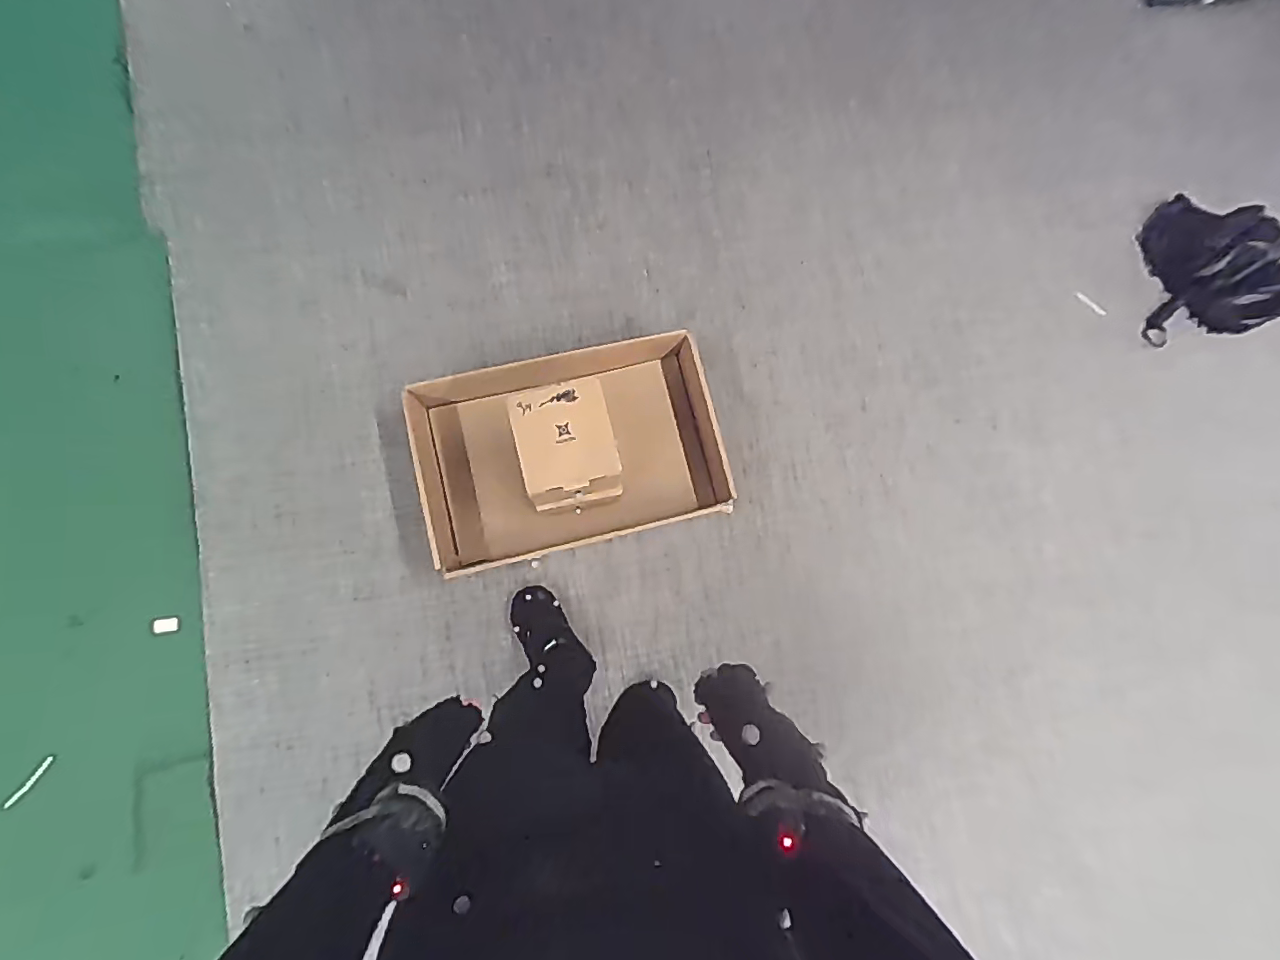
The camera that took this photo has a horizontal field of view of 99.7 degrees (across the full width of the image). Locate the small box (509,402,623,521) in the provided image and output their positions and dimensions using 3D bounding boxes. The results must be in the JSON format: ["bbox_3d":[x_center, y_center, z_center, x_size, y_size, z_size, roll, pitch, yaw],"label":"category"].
[{"bbox_3d":[-0.131,-0.024,0.999,0.168,0.176,0.179,-13,82,-7],"label":"small box"}]

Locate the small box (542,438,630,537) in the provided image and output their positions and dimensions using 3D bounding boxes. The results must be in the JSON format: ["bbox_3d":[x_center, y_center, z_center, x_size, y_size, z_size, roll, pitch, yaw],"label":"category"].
[{"bbox_3d":[-0.132,0.020,1.156,0.179,0.176,0.168,-14,81,-8],"label":"small box"}]
